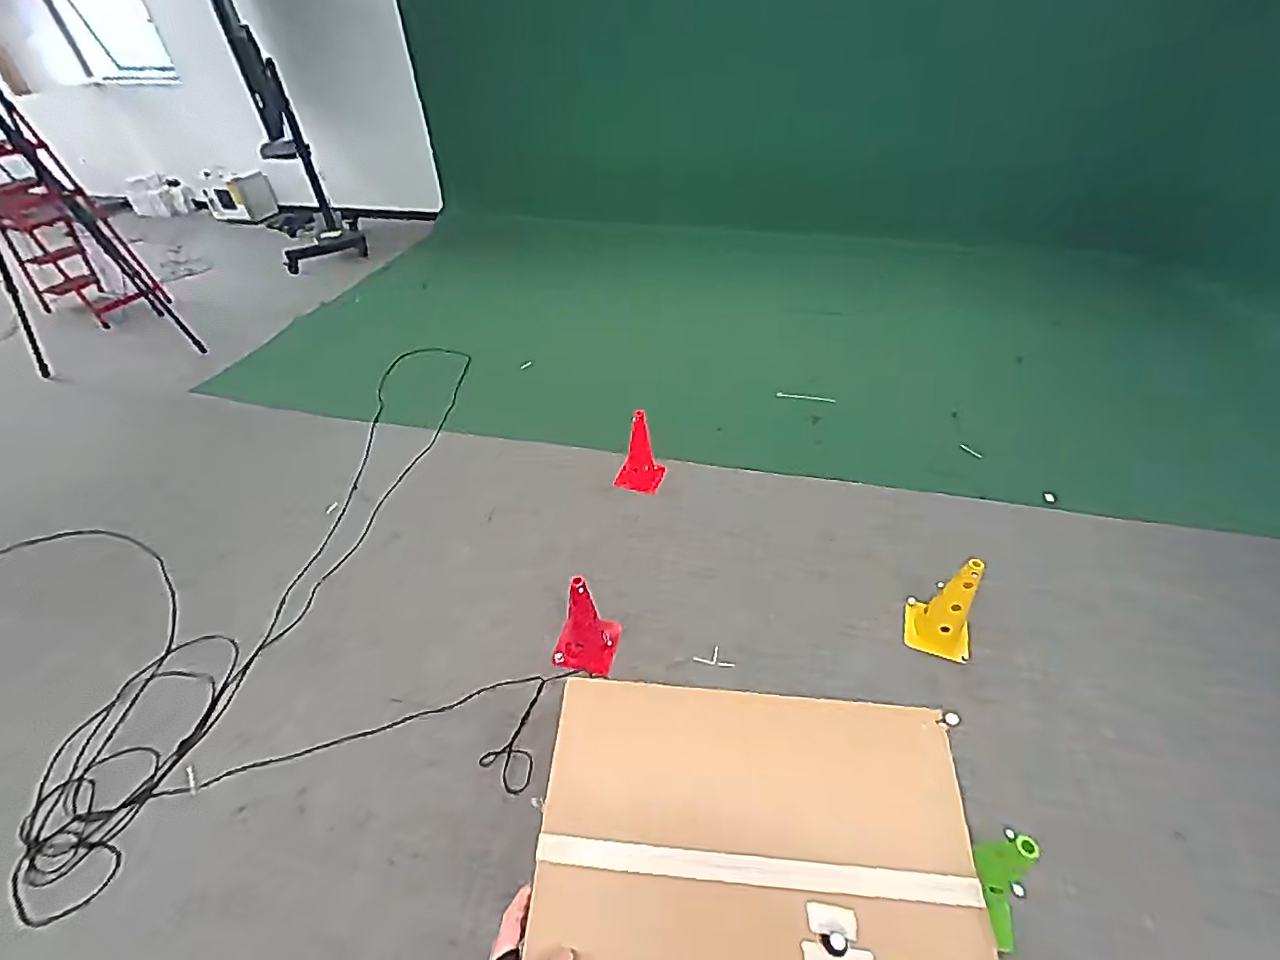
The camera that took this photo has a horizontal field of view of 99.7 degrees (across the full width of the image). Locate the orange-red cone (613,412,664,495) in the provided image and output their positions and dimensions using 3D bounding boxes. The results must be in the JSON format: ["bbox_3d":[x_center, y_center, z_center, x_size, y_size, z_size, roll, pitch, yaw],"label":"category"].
[{"bbox_3d":[-0.012,-0.138,2.351,0.199,0.360,0.198,12,43,16],"label":"orange-red cone"}]

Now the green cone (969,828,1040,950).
[{"bbox_3d":[0.800,0.872,1.215,0.200,0.368,0.202,12,42,14],"label":"green cone"}]

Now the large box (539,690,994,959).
[{"bbox_3d":[0.114,0.453,0.627,0.408,0.320,0.320,3,56,3],"label":"large box"}]
